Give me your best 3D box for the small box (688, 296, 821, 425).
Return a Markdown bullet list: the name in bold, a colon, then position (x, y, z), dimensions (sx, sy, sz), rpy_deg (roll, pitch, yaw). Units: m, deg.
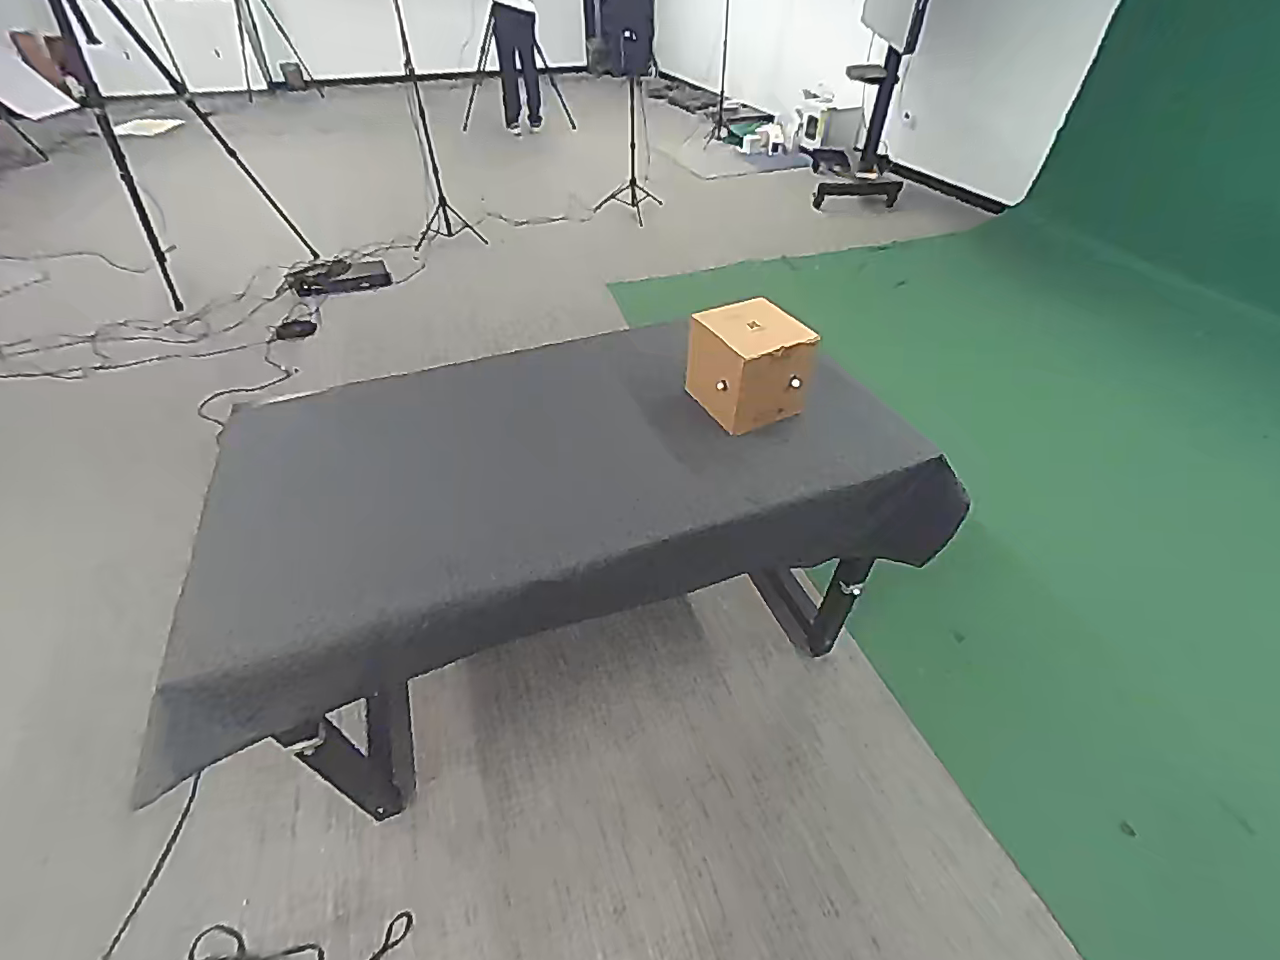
- **small box**: position (0.205, -0.220, 1.018), dimensions (0.168, 0.176, 0.179), rpy_deg (-19, 46, -20)
